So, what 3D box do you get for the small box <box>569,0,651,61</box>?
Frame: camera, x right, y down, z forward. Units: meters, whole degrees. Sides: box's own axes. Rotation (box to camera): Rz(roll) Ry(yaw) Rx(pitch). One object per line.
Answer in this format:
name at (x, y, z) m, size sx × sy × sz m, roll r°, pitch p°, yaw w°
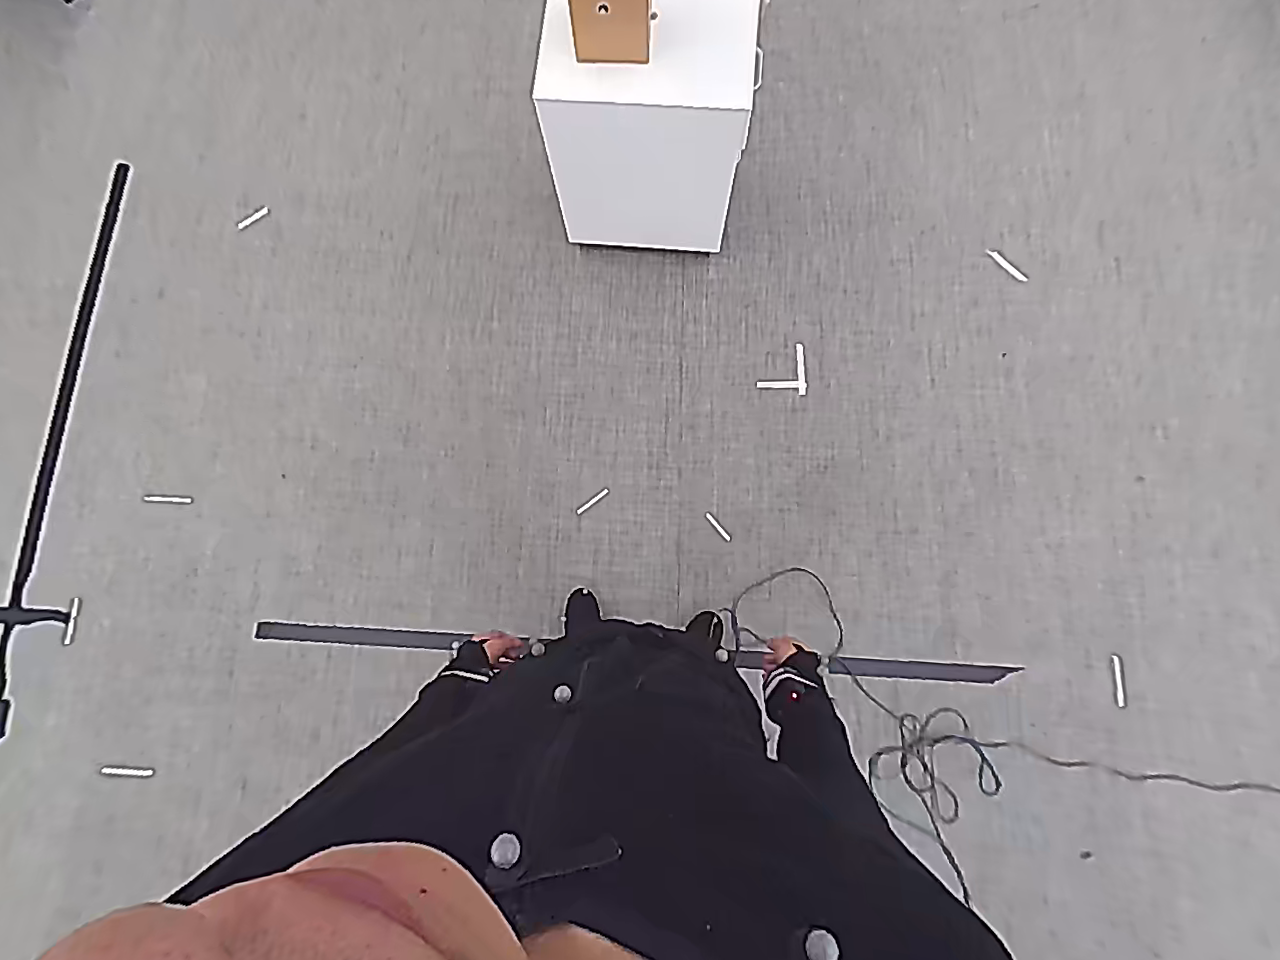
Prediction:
small box at (-0.066, -1.092, 1.222) m, size 0.179 × 0.176 × 0.168 m, roll 2°, pitch 80°, yaw 1°
